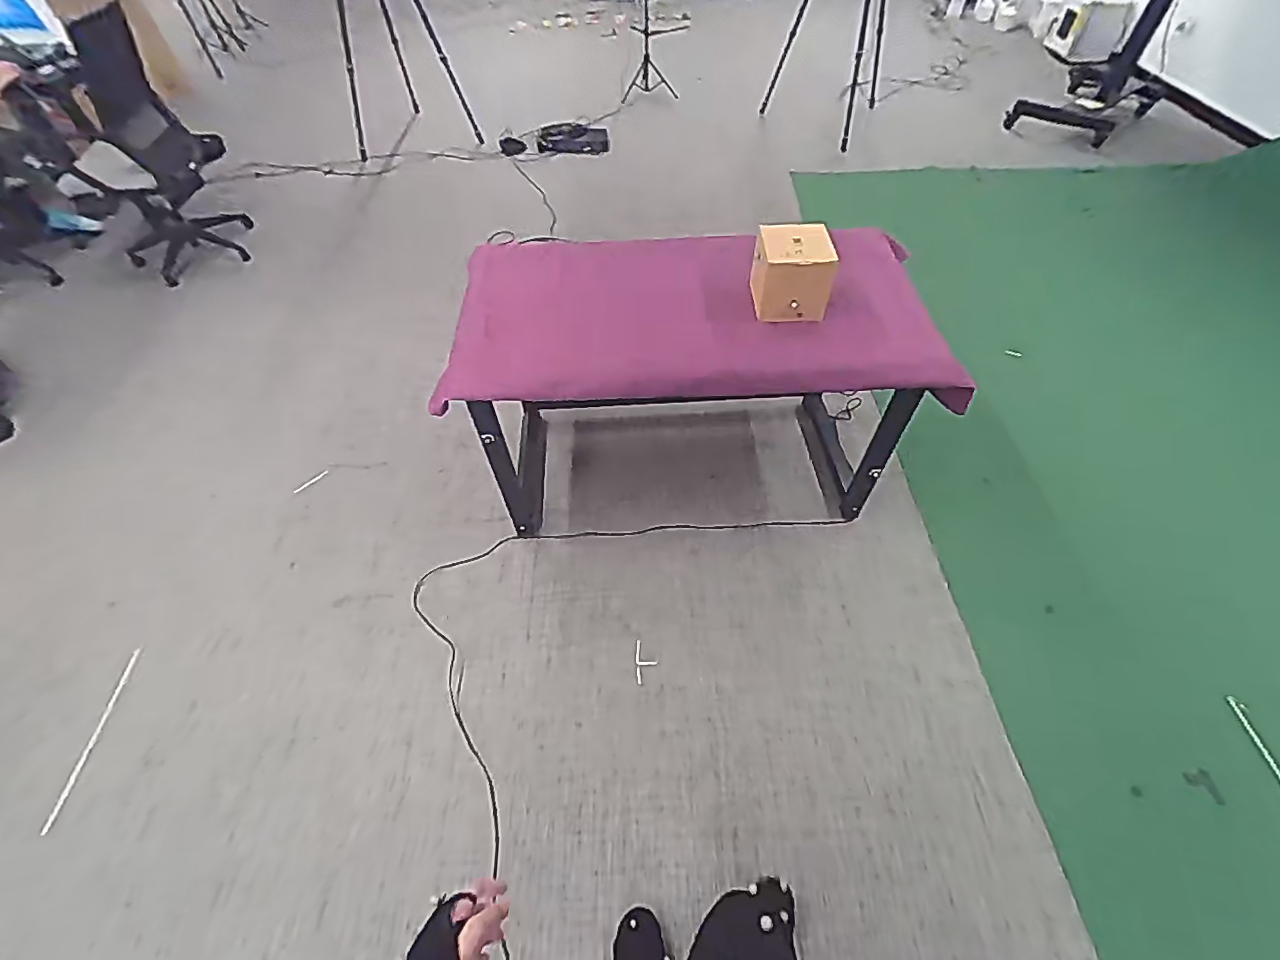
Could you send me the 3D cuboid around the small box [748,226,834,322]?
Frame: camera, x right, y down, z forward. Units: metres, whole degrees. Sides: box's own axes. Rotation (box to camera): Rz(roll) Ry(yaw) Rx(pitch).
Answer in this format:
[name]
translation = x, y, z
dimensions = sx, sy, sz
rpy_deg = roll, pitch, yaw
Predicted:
[small box]
translation = 0.376, -0.525, 1.381
dimensions = 0.168, 0.176, 0.179
rpy_deg = -1, 53, 2
